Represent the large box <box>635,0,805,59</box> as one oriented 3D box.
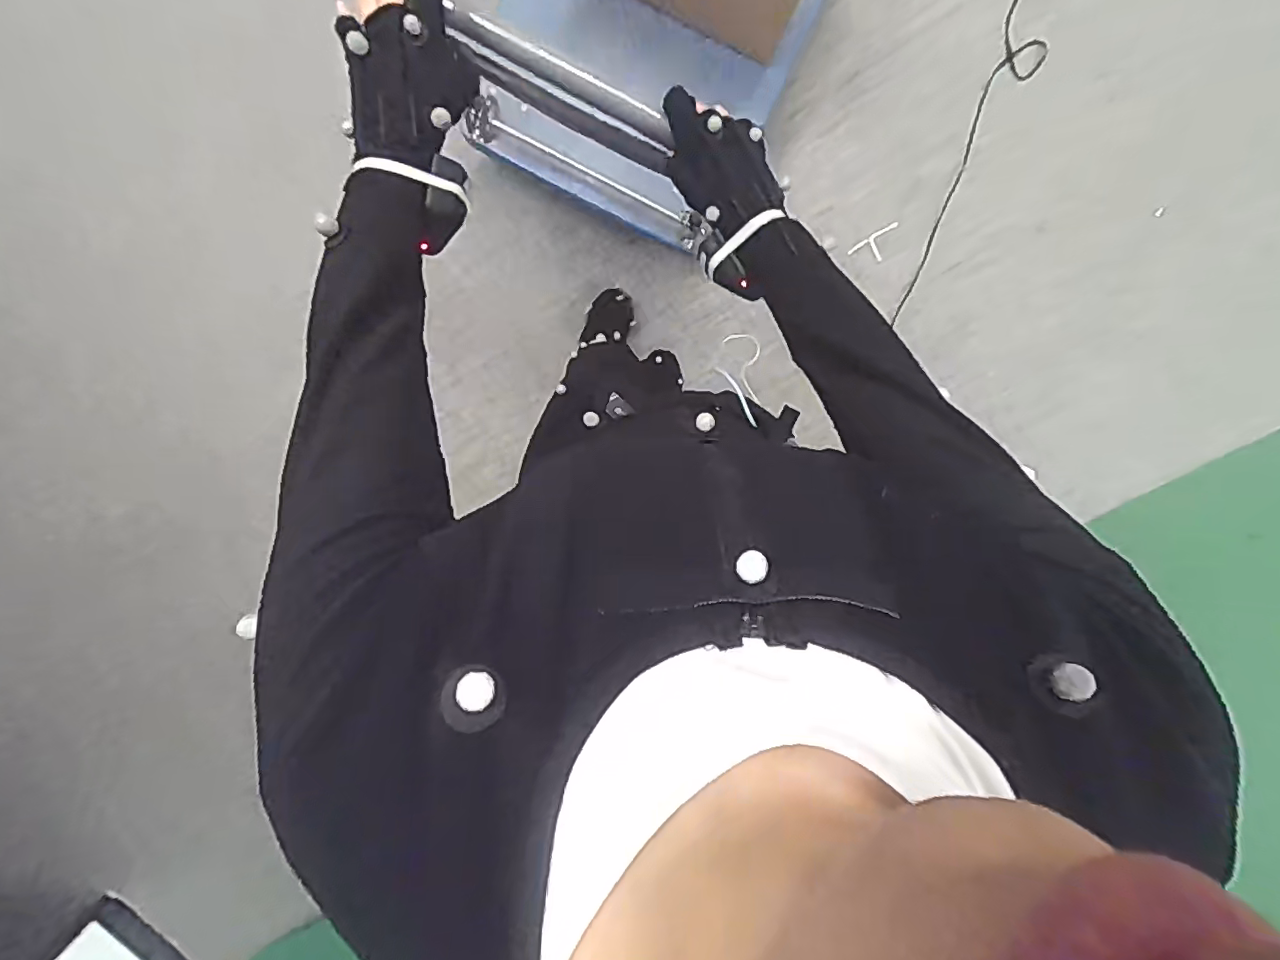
[{"bbox_3d":[0.139,-1.008,0.898,0.408,0.320,0.320,22,103,-4],"label":"large box"}]
